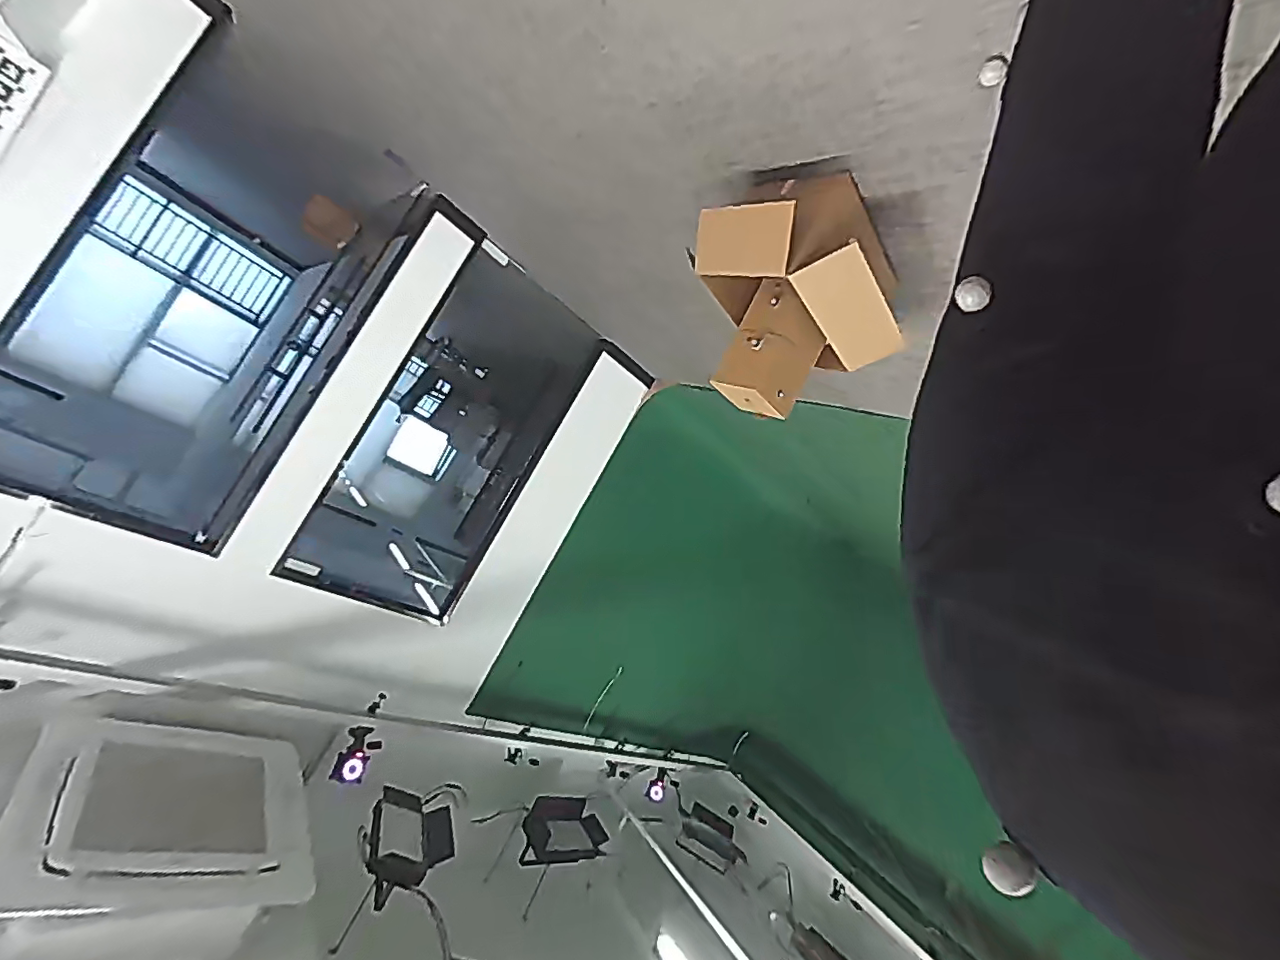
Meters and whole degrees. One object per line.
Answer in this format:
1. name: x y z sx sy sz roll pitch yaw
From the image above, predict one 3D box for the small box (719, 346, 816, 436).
1. small box: 0.358 -0.247 1.495 0.168 0.176 0.179 22 172 47
